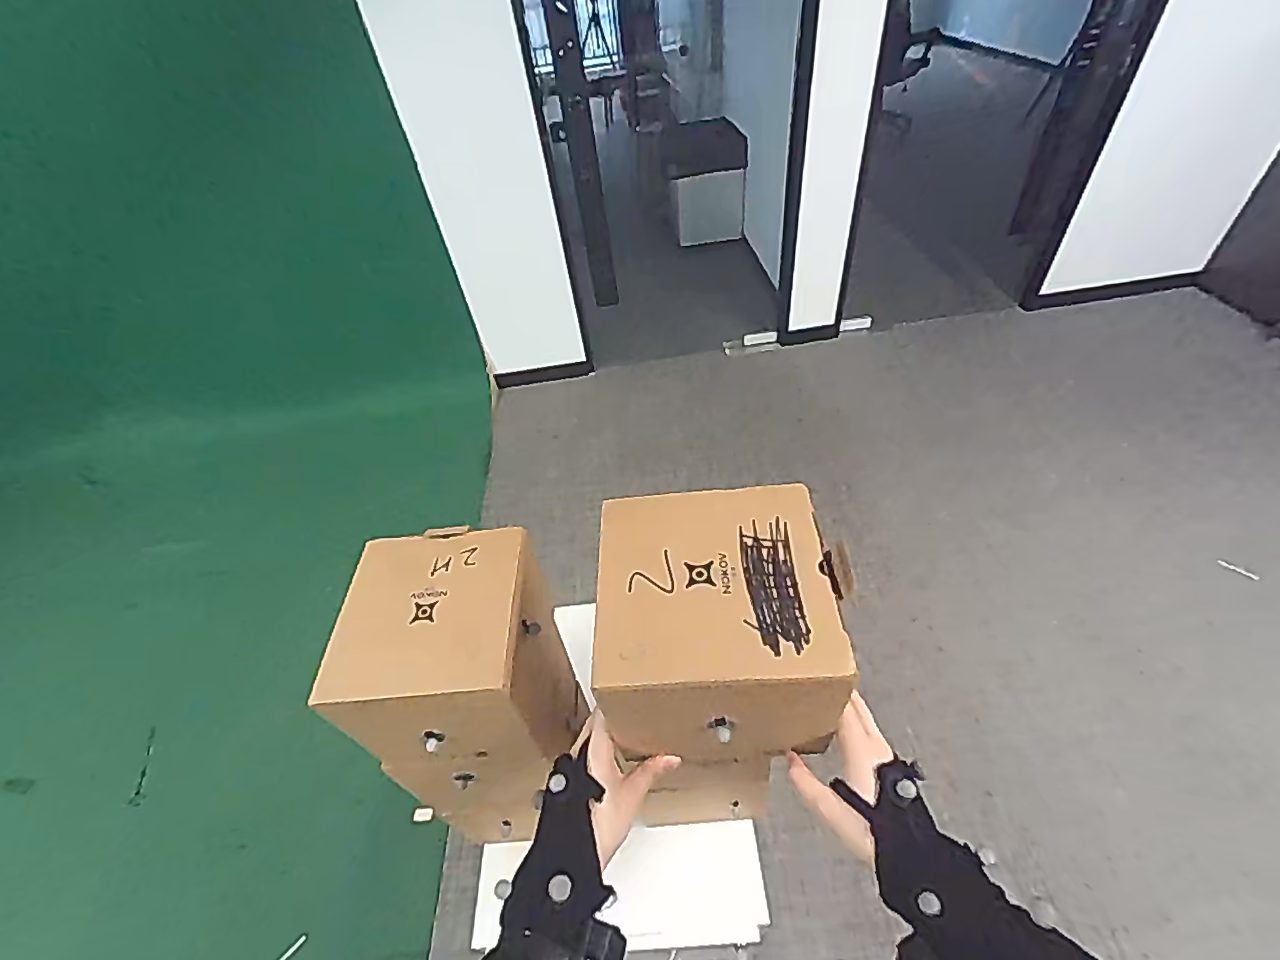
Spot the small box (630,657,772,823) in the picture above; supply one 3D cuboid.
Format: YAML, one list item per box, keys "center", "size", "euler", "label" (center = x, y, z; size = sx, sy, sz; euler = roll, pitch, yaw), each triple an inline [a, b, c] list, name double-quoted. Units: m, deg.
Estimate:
- center: [0.084, 0.378, 0.782]
  size: [0.179, 0.176, 0.168]
  euler: [-8, 44, 4]
  label: "small box"

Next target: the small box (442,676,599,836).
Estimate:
- center: [-0.161, 0.405, 0.790]
  size: [0.179, 0.176, 0.168]
  euler: [-5, 46, 2]
  label: "small box"

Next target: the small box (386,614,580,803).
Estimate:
- center: [-0.177, 0.288, 0.674]
  size: [0.179, 0.176, 0.168]
  euler: [-5, 46, 1]
  label: "small box"

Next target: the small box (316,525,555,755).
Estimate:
- center: [-0.187, 0.170, 0.560]
  size: [0.168, 0.176, 0.179]
  euler: [-4, 46, 1]
  label: "small box"
